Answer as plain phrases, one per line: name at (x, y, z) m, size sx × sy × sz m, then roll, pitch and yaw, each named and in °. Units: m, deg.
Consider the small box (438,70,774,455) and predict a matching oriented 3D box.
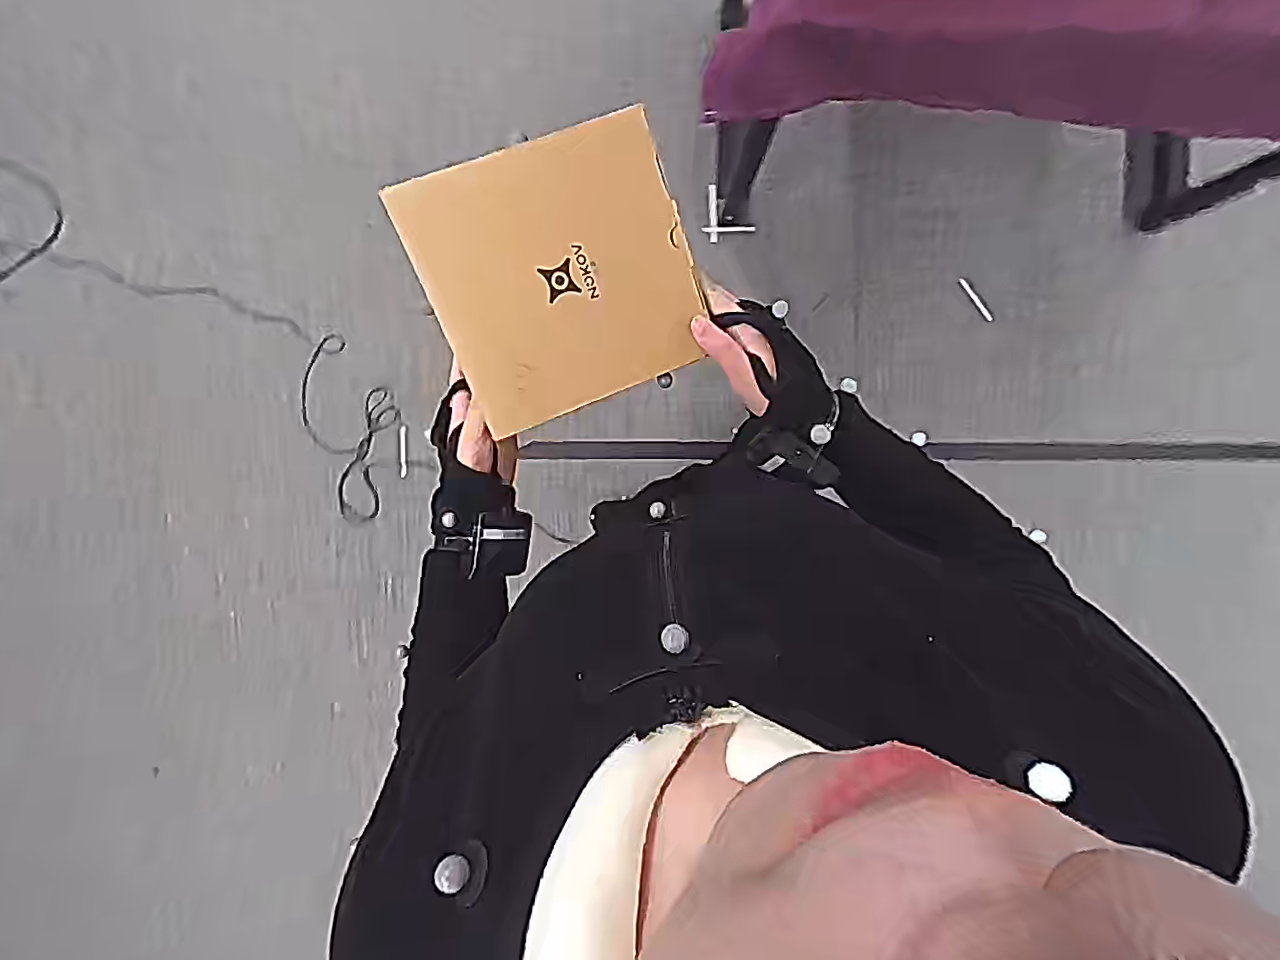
small box at (-0.031, -0.145, 0.397) m, size 0.168 × 0.176 × 0.179 m, roll -29°, pitch 91°, yaw -26°
